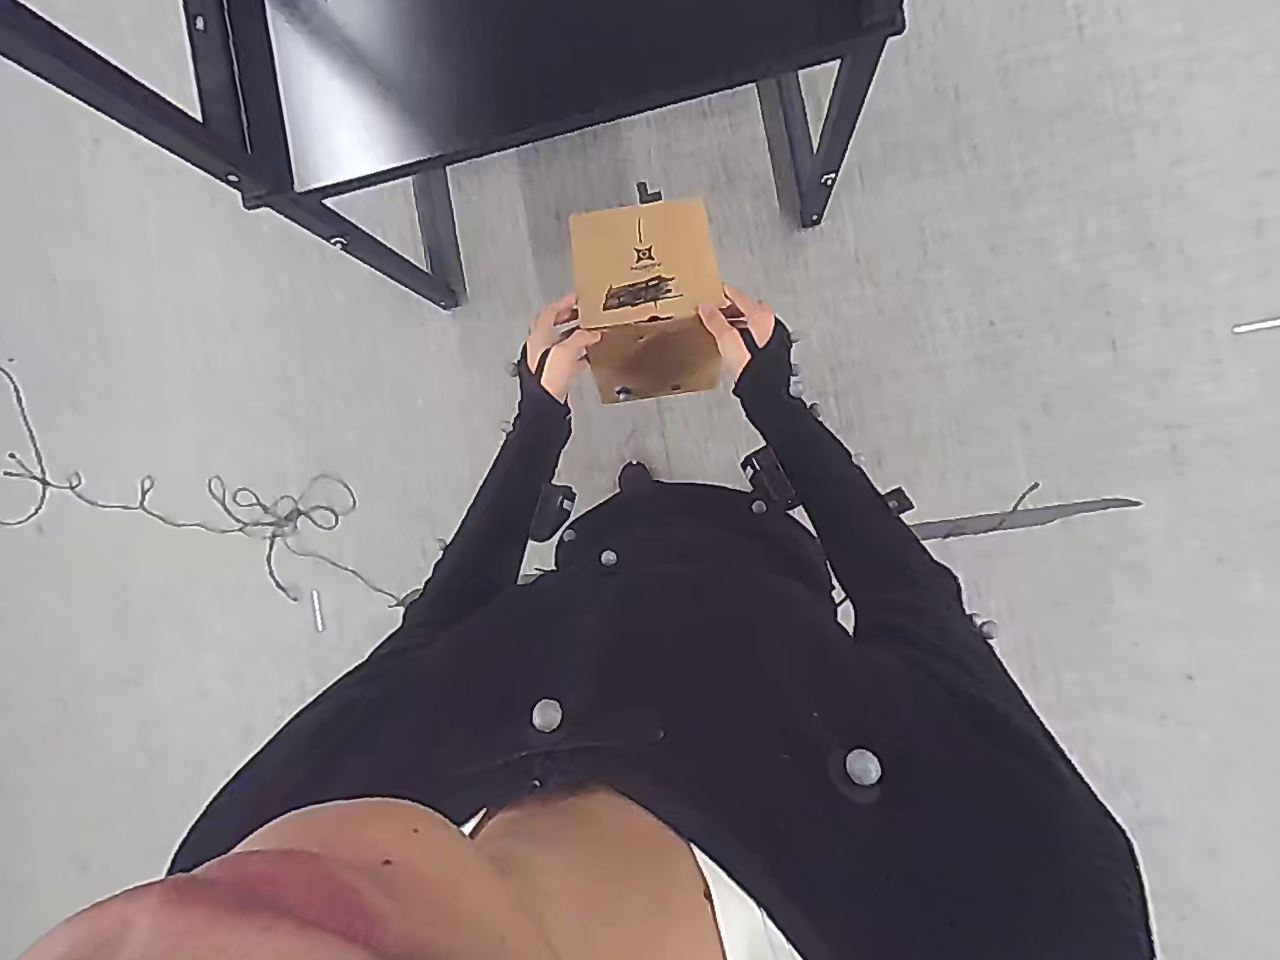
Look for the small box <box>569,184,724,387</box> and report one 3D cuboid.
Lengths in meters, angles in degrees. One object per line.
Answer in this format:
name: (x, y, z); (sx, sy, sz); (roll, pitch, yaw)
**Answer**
small box: (0.010, -0.233, 0.690); (0.168, 0.176, 0.179); (-8, 68, 1)
